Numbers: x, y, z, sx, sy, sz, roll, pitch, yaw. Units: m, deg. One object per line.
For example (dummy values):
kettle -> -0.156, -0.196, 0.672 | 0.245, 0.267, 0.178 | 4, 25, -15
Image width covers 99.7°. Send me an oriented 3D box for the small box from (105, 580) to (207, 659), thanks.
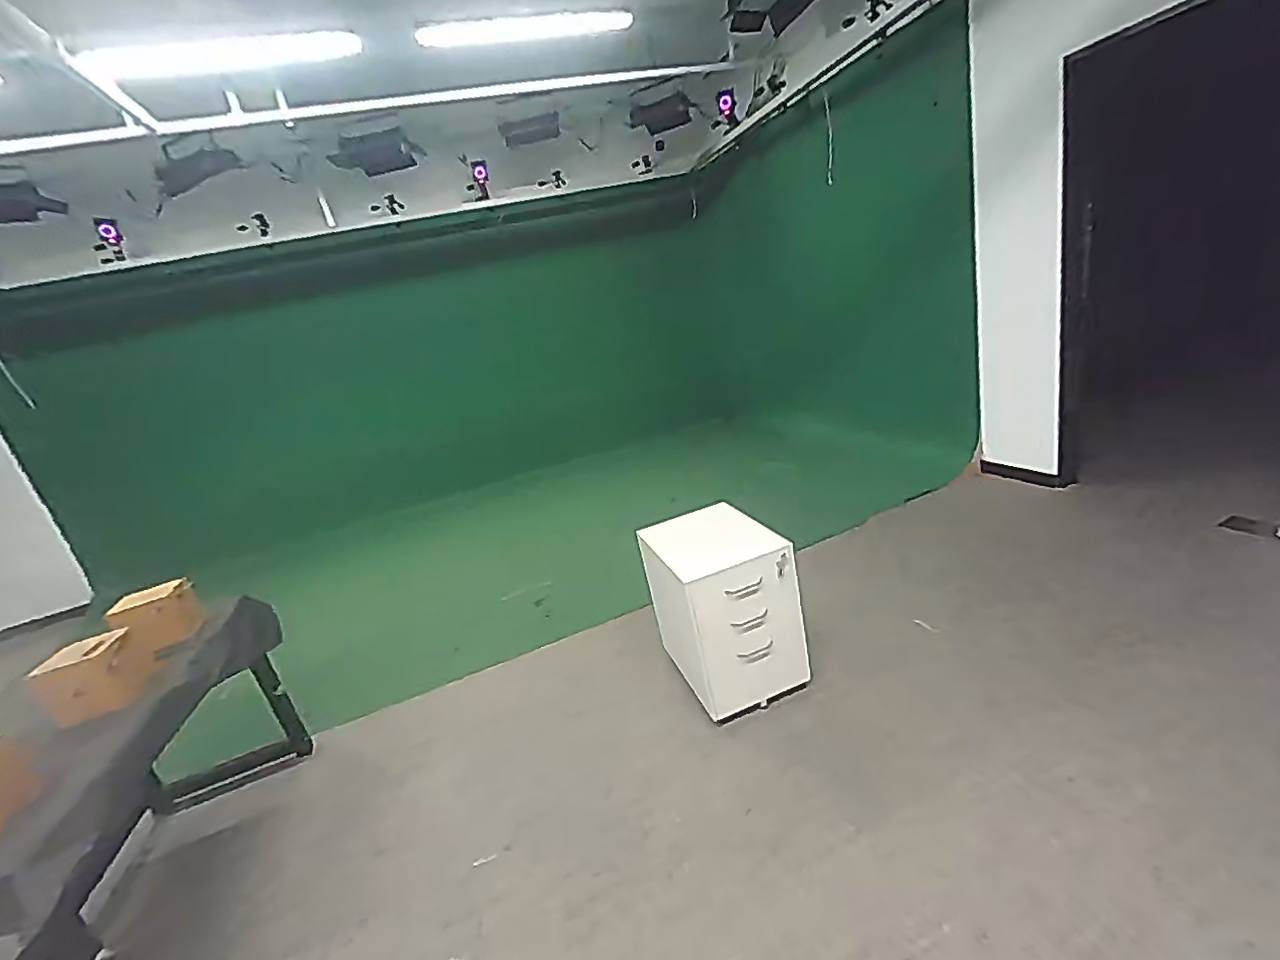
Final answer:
small box -> -1.613, 0.468, 1.813 | 0.179, 0.176, 0.168 | -19, 19, -19
